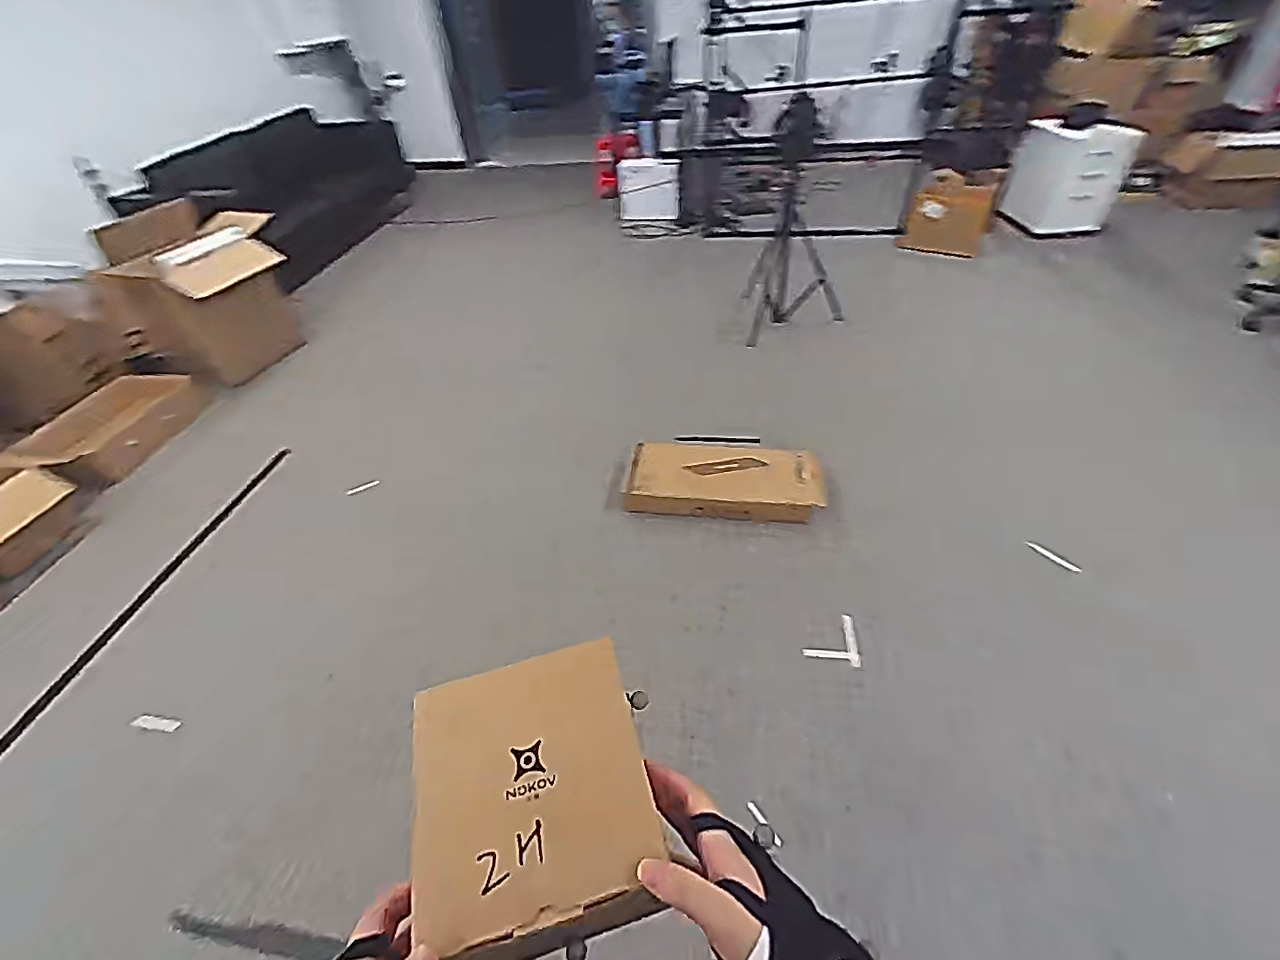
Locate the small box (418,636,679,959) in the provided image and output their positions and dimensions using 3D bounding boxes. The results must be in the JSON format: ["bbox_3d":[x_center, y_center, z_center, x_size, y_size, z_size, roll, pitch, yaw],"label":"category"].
[{"bbox_3d":[-0.070,0.264,0.450,0.168,0.176,0.179,-14,47,-7],"label":"small box"}]
